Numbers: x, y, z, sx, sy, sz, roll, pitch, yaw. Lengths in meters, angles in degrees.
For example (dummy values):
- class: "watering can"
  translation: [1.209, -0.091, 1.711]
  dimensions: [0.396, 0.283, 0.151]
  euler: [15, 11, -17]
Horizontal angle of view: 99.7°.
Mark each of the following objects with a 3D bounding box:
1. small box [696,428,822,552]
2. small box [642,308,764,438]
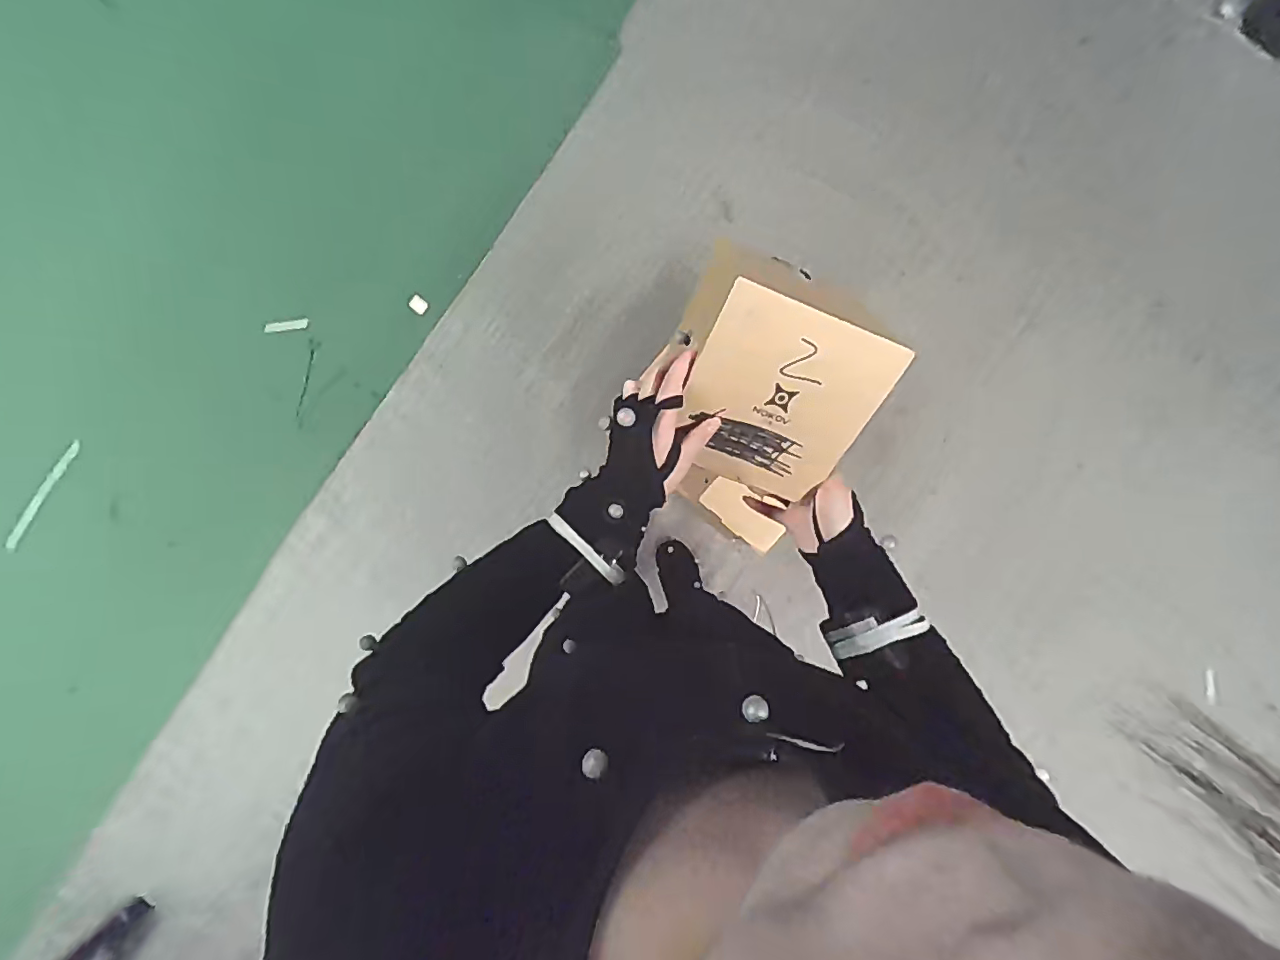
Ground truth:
- class: "small box"
  translation: [0.226, 0.018, 1.088]
  dimensions: [0.168, 0.176, 0.179]
  euler: [43, 90, -1]
- class: "small box"
  translation: [0.117, -0.205, 1.091]
  dimensions: [0.168, 0.176, 0.179]
  euler: [42, 89, 2]
